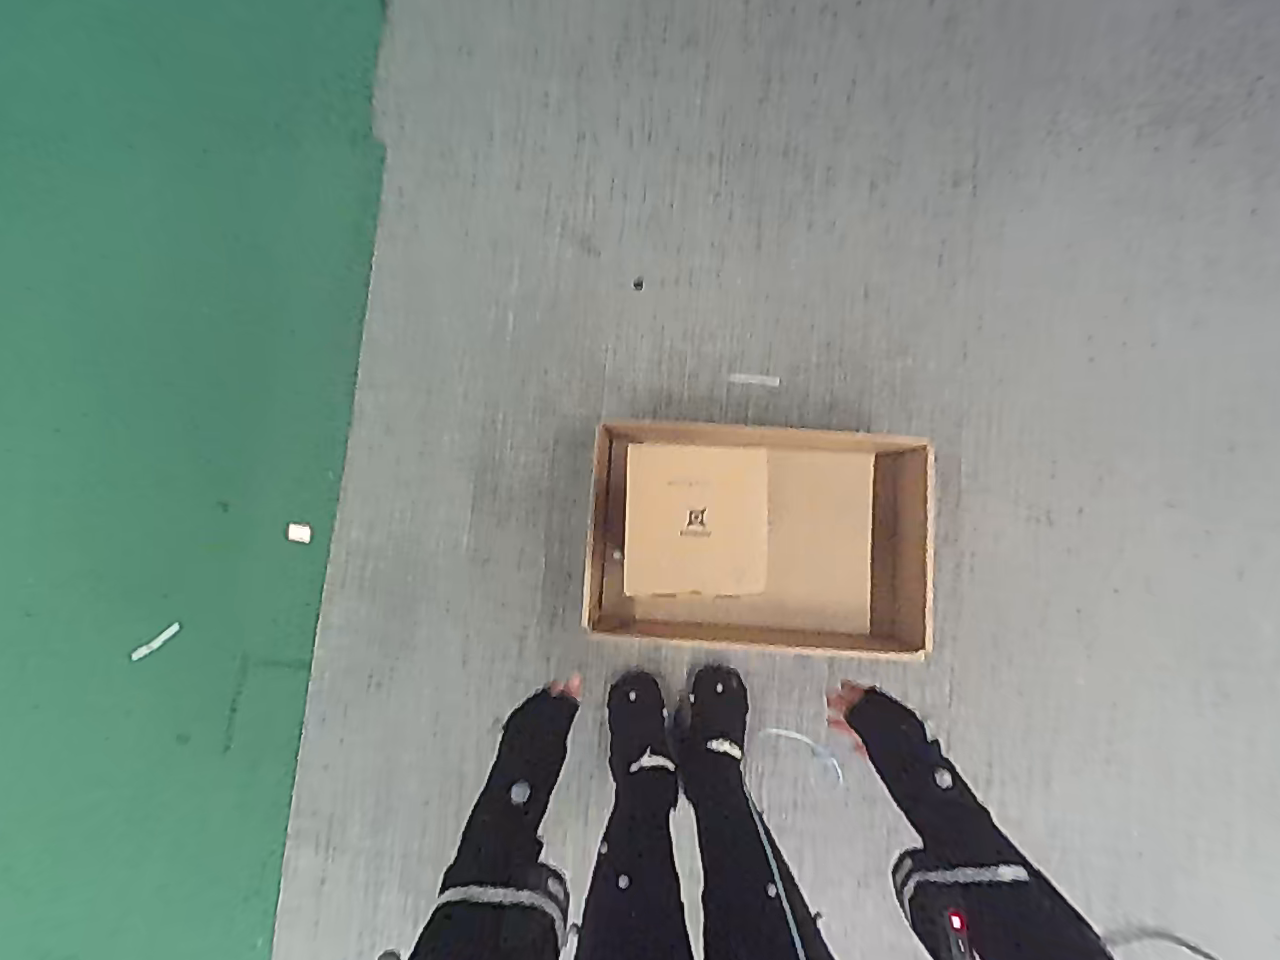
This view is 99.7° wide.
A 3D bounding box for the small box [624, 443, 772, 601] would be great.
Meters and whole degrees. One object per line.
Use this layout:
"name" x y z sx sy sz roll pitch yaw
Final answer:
"small box" 0.068 0.054 0.697 0.168 0.176 0.179 2 84 0
